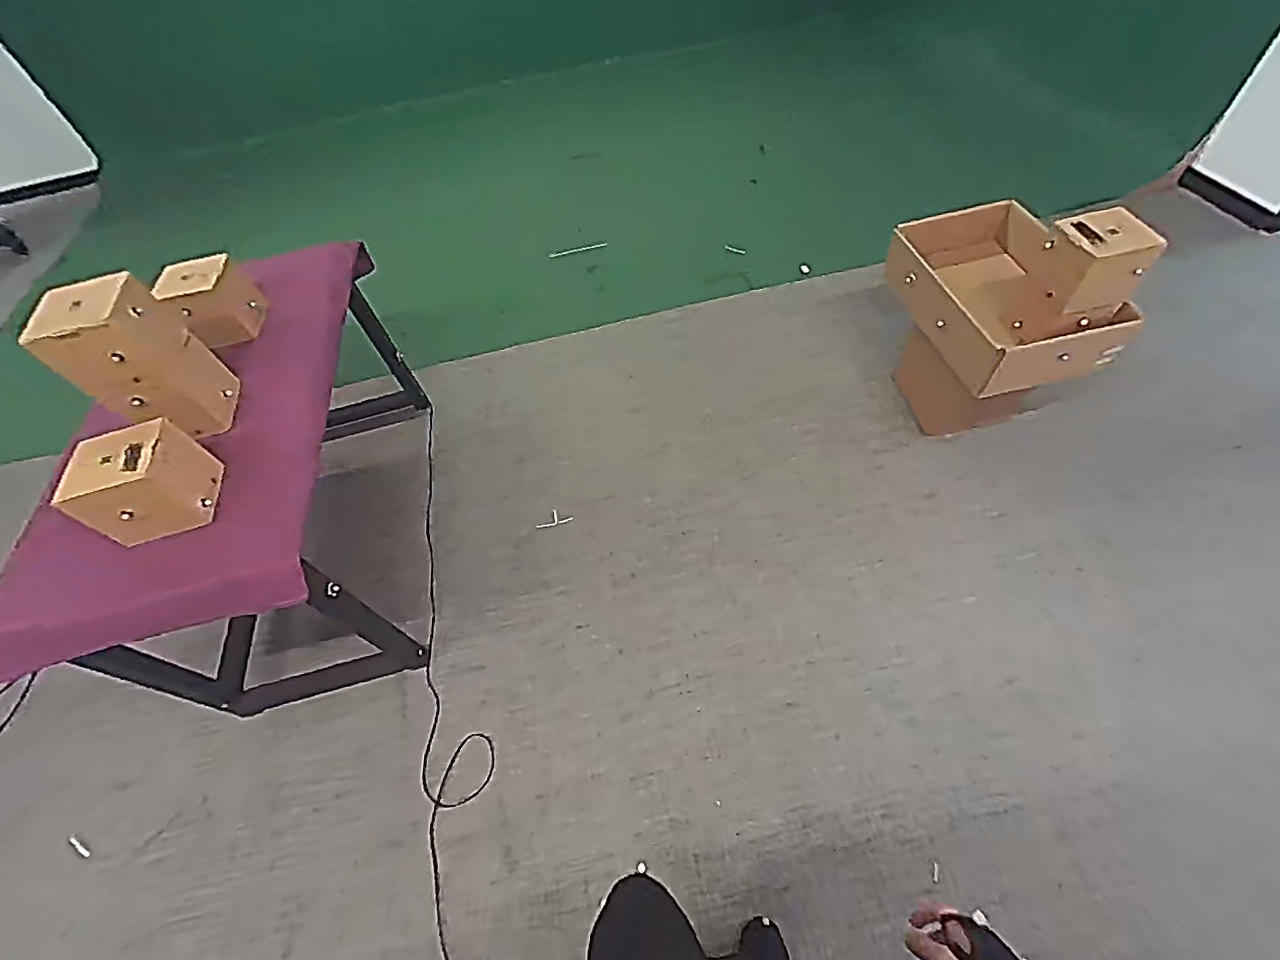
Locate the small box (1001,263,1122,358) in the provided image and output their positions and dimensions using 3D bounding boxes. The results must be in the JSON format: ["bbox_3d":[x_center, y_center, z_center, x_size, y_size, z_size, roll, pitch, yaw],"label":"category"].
[{"bbox_3d":[1.161,-0.468,1.506,0.179,0.176,0.168,-13,56,1],"label":"small box"}]

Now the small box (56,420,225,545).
[{"bbox_3d":[-1.010,0.009,1.116,0.179,0.176,0.168,-17,54,-3],"label":"small box"}]

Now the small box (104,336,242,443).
[{"bbox_3d":[-1.089,-0.206,1.282,0.168,0.176,0.179,-17,54,-3],"label":"small box"}]

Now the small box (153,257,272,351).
[{"bbox_3d":[-1.166,-0.476,1.484,0.179,0.176,0.168,-12,55,0],"label":"small box"}]

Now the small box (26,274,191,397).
[{"bbox_3d":[-1.108,-0.298,1.147,0.168,0.176,0.179,-17,55,-5],"label":"small box"}]
